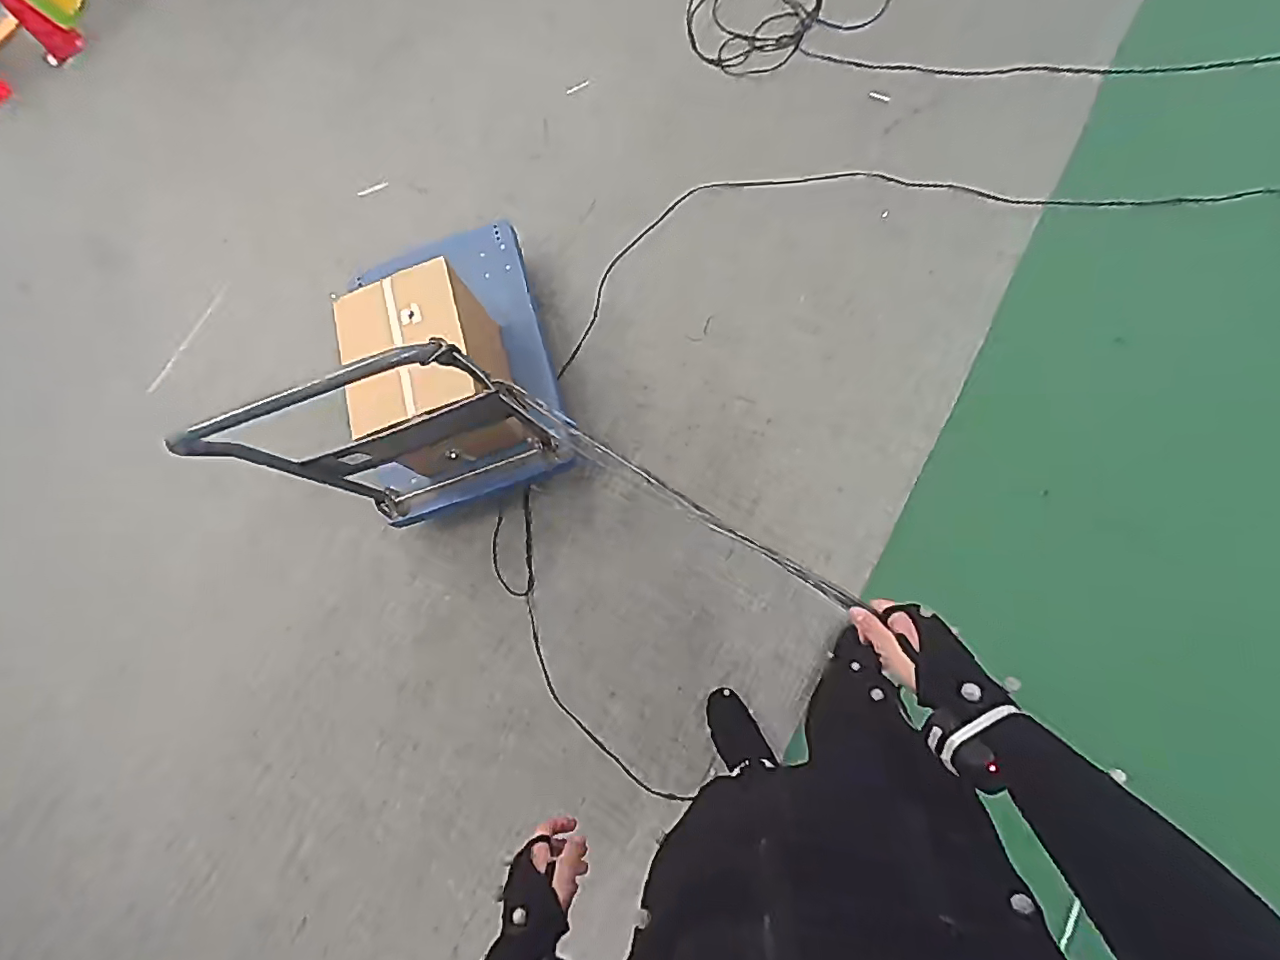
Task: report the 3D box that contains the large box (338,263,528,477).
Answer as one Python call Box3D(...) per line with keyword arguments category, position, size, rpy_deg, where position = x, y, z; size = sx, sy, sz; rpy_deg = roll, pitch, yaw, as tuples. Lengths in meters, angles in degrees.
Box3D(category="large box", position=(-0.535, -0.273, 1.435), size=(0.320, 0.320, 0.408), rpy_deg=(-20, 71, 4))
